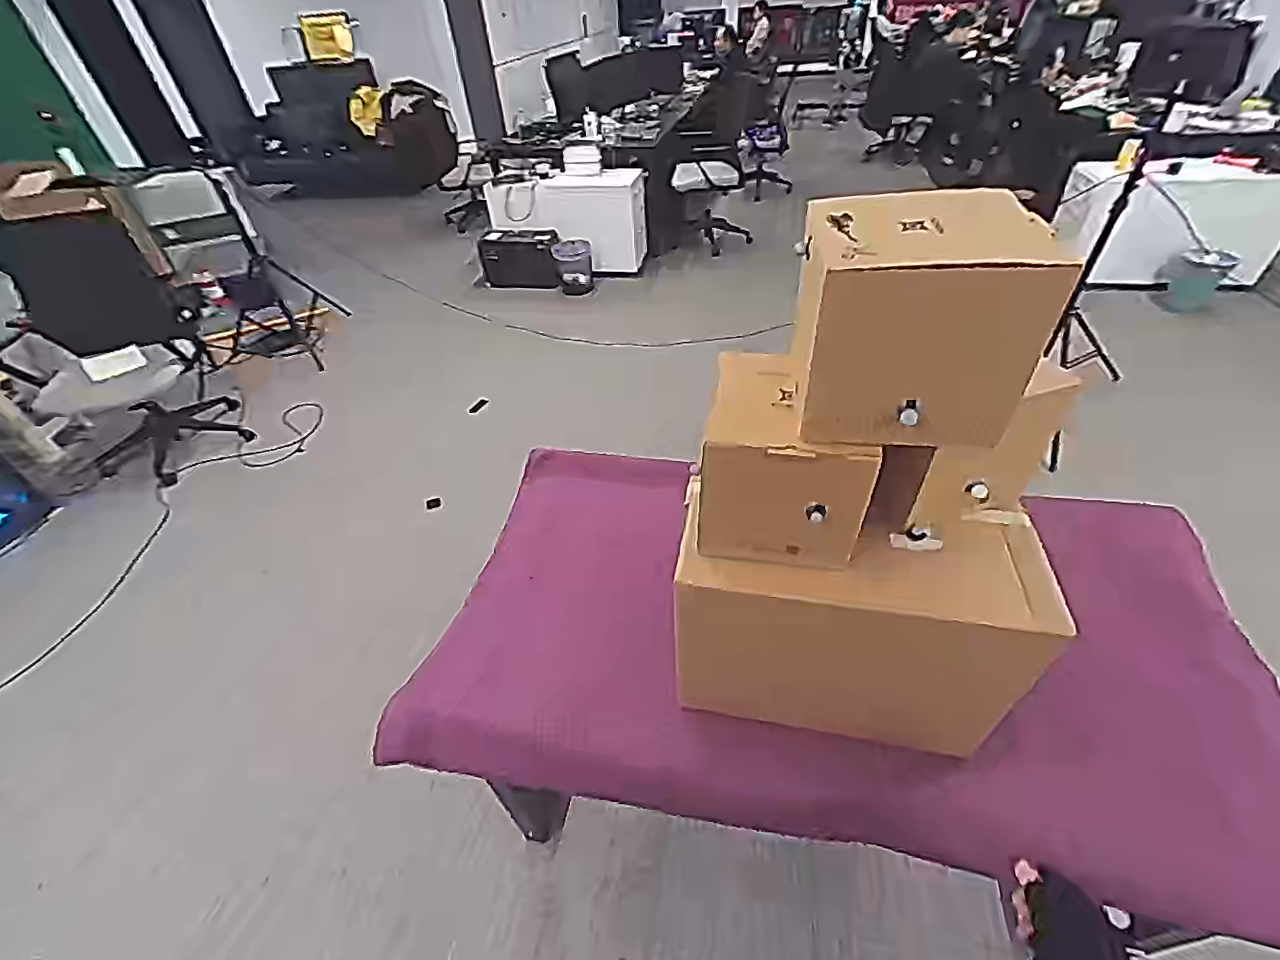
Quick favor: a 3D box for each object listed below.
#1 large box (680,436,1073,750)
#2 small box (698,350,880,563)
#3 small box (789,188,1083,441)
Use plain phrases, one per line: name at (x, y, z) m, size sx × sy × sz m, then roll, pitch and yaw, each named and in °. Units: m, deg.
large box at (0.271, 0.144, 0.775) m, size 0.408 × 0.320 × 0.320 m, roll 6°, pitch 44°, yaw 10°
small box at (0.156, -0.027, 0.611) m, size 0.168 × 0.176 × 0.179 m, roll 6°, pitch 42°, yaw 8°
small box at (0.238, -0.149, 0.494) m, size 0.179 × 0.176 × 0.168 m, roll 3°, pitch 43°, yaw 9°
